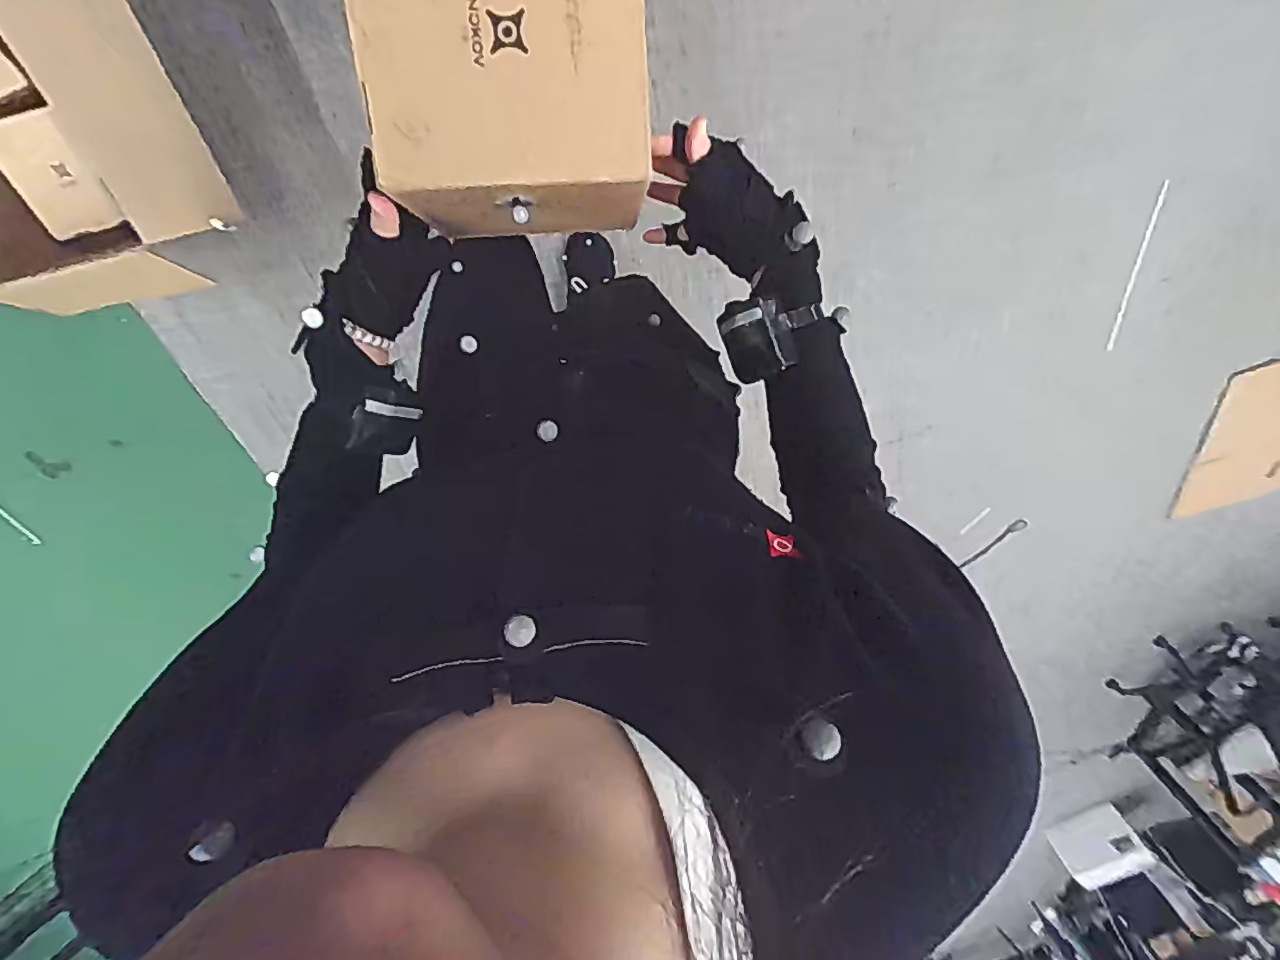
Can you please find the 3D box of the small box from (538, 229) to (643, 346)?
[{"bbox_3d":[-0.116,-0.445,1.261,0.168,0.176,0.179,40,86,-2],"label":"small box"}]

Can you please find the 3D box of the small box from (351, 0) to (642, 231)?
[{"bbox_3d":[-0.090,-0.292,0.407,0.179,0.176,0.168,-3,104,-3],"label":"small box"}]
